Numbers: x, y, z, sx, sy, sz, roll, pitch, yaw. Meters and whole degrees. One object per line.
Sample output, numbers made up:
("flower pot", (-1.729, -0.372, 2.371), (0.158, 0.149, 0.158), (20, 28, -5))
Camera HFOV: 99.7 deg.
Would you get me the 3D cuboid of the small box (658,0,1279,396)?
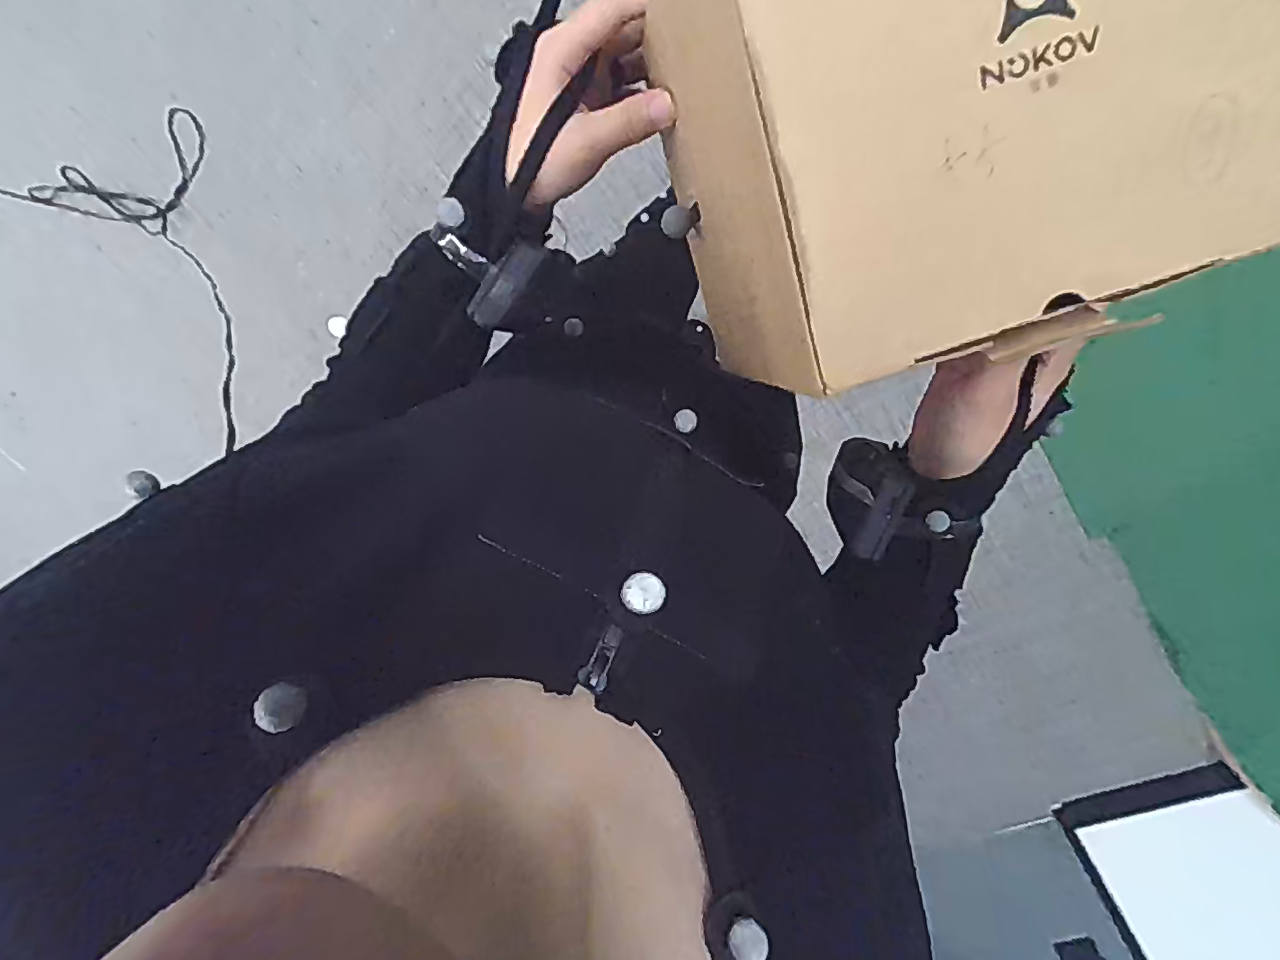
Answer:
("small box", (0.112, -0.152, 0.243), (0.168, 0.176, 0.179), (-17, 105, 1))
